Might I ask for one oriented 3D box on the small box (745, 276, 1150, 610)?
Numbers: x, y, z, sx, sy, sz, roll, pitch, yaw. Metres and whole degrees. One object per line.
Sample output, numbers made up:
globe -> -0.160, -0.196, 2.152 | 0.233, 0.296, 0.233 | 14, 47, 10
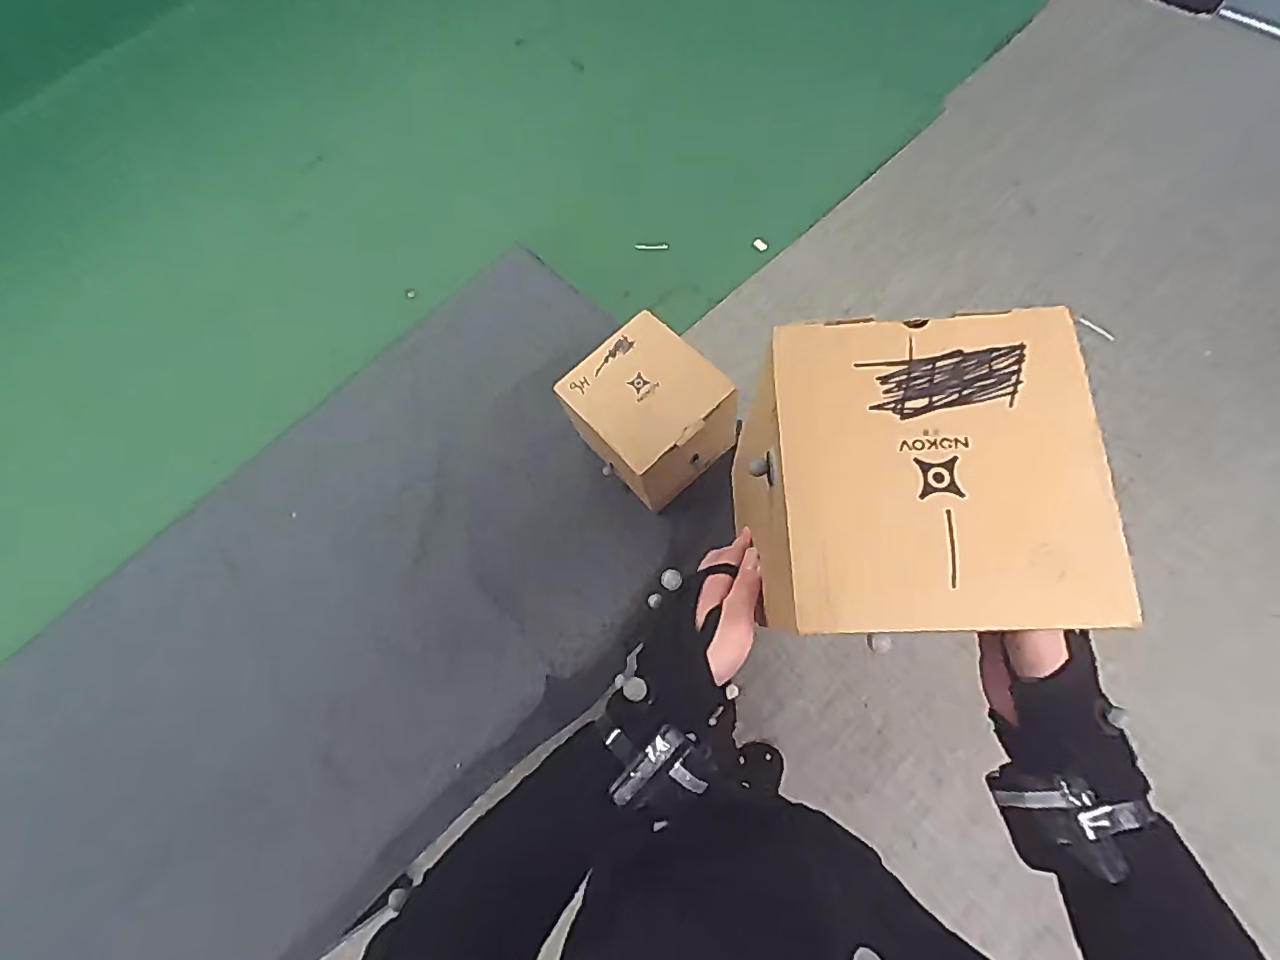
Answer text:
small box -> 0.162, -0.006, 0.354 | 0.168, 0.176, 0.179 | -2, 77, 5

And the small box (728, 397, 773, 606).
small box -> 0.174, 0.030, 0.515 | 0.168, 0.176, 0.179 | -2, 74, 5

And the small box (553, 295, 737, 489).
small box -> 0.013, -0.106, 0.743 | 0.168, 0.176, 0.179 | -41, 72, -7
